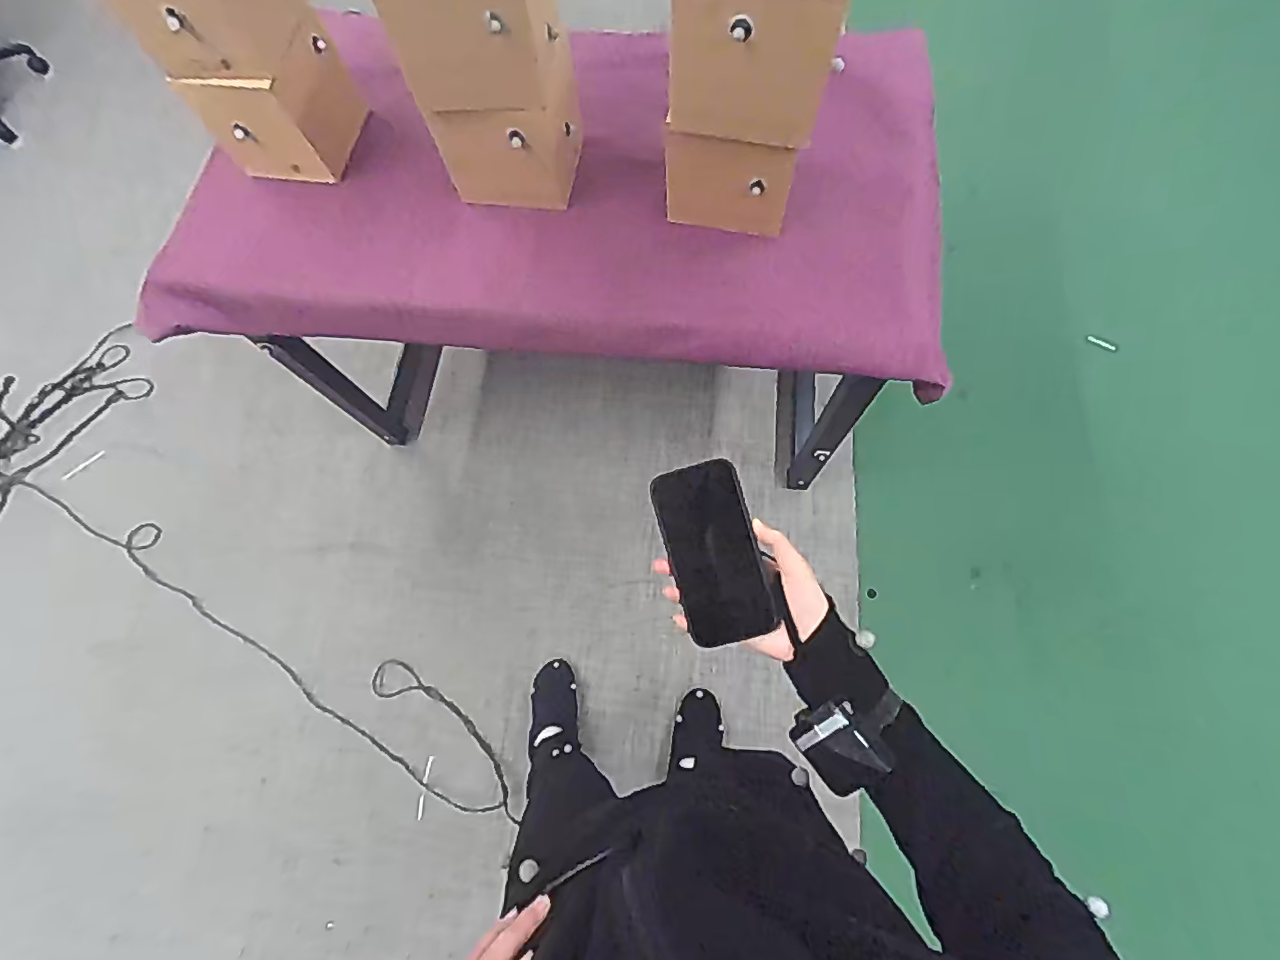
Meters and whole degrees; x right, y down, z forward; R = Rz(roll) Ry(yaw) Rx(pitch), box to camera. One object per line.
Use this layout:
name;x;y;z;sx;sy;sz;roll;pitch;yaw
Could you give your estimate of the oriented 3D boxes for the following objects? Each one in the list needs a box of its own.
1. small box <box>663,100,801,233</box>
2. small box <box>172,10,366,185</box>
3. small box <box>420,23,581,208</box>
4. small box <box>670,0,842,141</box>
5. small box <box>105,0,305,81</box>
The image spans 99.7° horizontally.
small box;0.139;-0.486;0.778;0.179;0.176;0.168;13;72;9
small box;-0.577;-0.608;0.871;0.168;0.176;0.179;8;72;7
small box;-0.195;-0.541;0.819;0.179;0.176;0.168;7;72;7
small box;0.134;-0.525;0.618;0.179;0.176;0.168;13;72;8
small box;-0.587;-0.669;0.718;0.168;0.176;0.179;3;72;4
